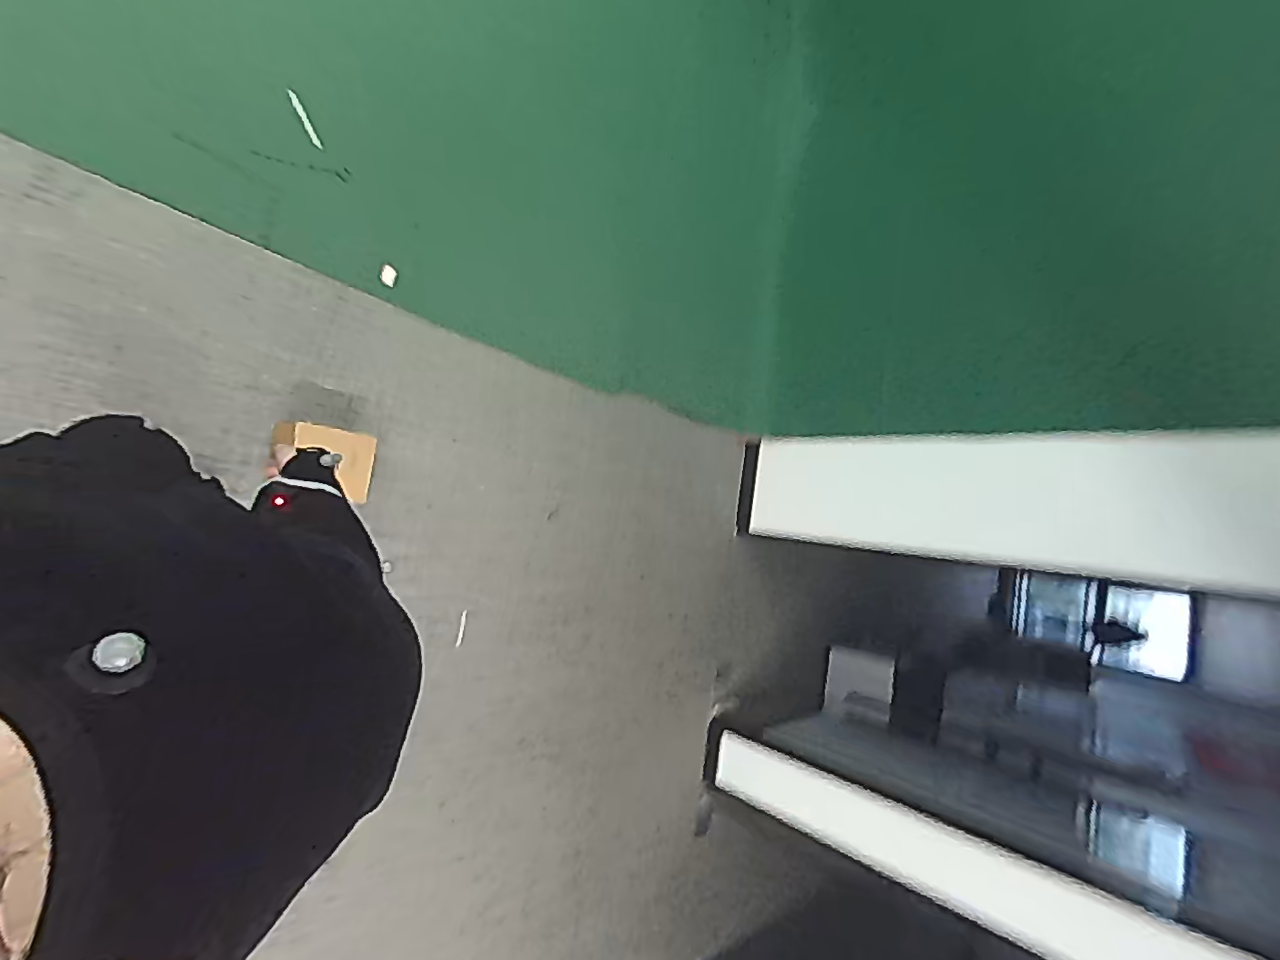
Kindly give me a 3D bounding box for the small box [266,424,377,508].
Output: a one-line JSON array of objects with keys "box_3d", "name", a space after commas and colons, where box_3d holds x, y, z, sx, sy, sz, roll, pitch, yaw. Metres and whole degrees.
[{"box_3d": [-0.766, -0.031, 1.295, 0.179, 0.176, 0.168, 14, 83, -46], "name": "small box"}]
